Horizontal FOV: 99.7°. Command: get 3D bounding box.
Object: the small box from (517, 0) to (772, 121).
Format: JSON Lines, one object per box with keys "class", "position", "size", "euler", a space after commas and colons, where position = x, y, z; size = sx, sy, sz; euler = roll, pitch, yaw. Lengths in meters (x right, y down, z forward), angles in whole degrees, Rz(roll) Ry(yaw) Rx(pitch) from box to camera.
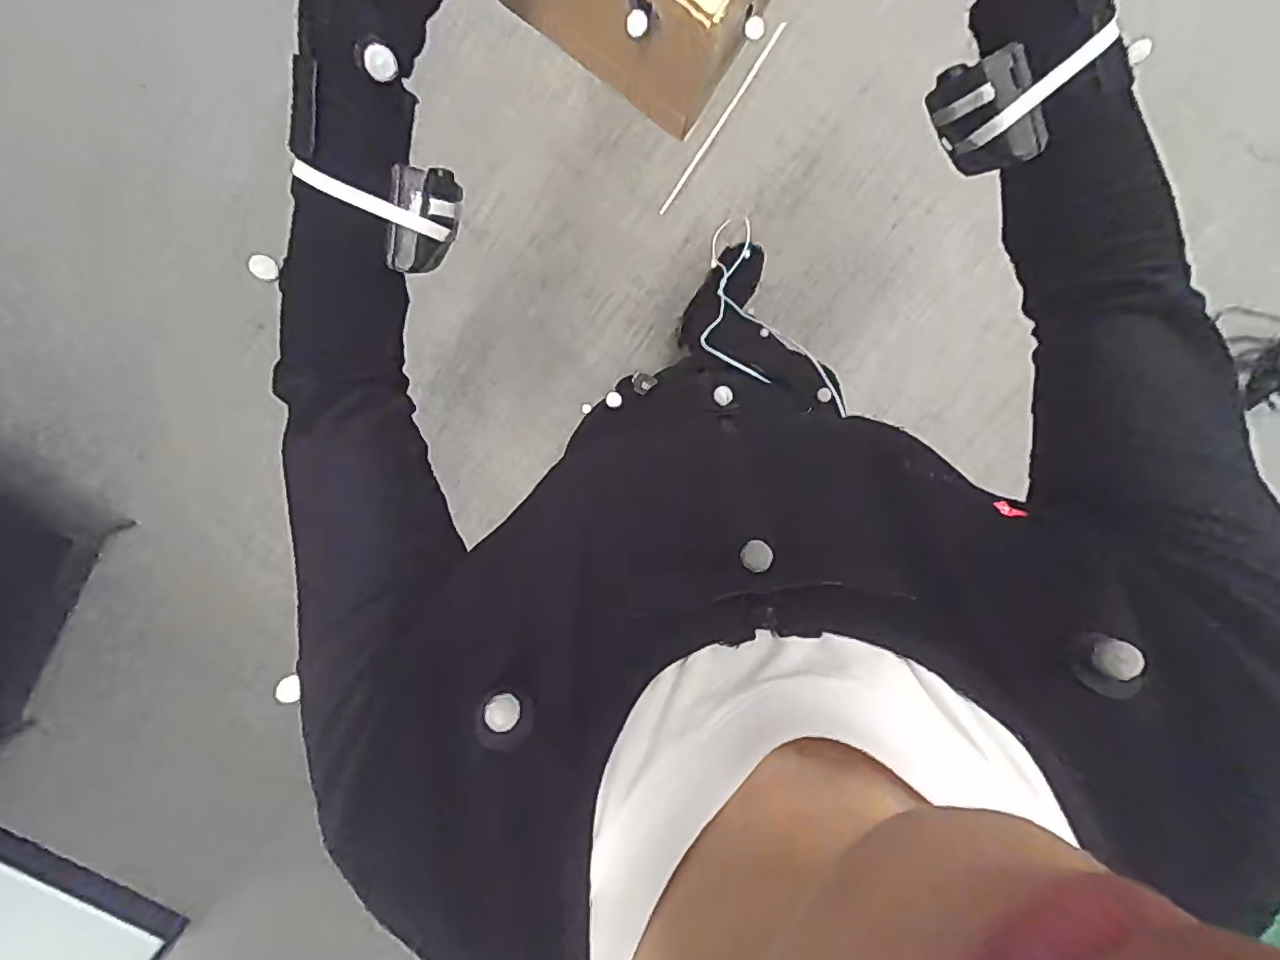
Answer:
{"class": "small box", "position": [0.012, -0.371, 0.333], "size": [0.179, 0.176, 0.168], "euler": [33, 100, -11]}
